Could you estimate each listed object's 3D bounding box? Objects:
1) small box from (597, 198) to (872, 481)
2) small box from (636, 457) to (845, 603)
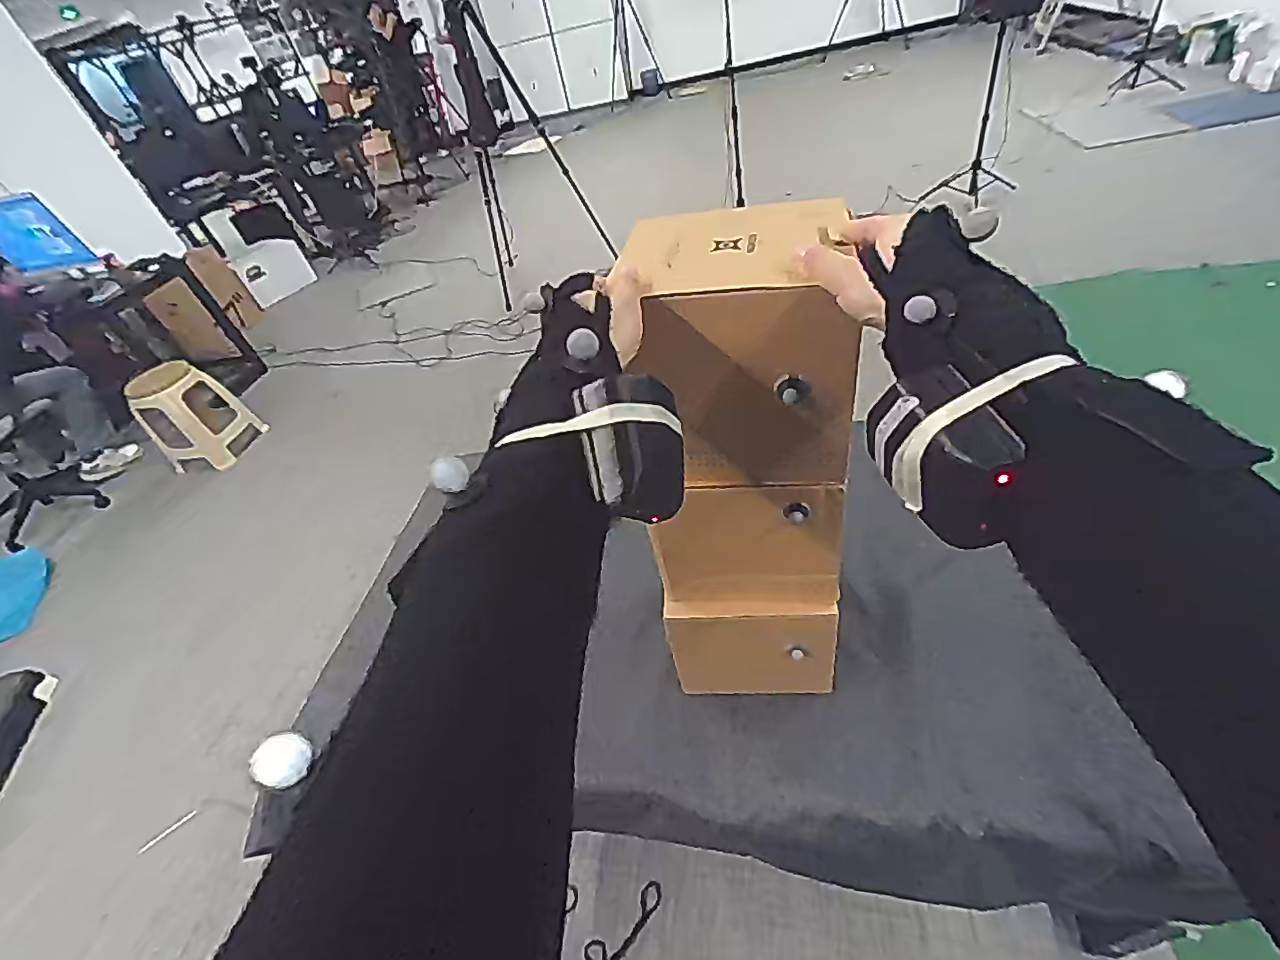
[{"bbox_3d":[0.083,-0.111,0.451,0.179,0.176,0.168,-1,41,15],"label":"small box"},{"bbox_3d":[0.106,0.011,0.555,0.179,0.176,0.168,-2,42,13],"label":"small box"}]
